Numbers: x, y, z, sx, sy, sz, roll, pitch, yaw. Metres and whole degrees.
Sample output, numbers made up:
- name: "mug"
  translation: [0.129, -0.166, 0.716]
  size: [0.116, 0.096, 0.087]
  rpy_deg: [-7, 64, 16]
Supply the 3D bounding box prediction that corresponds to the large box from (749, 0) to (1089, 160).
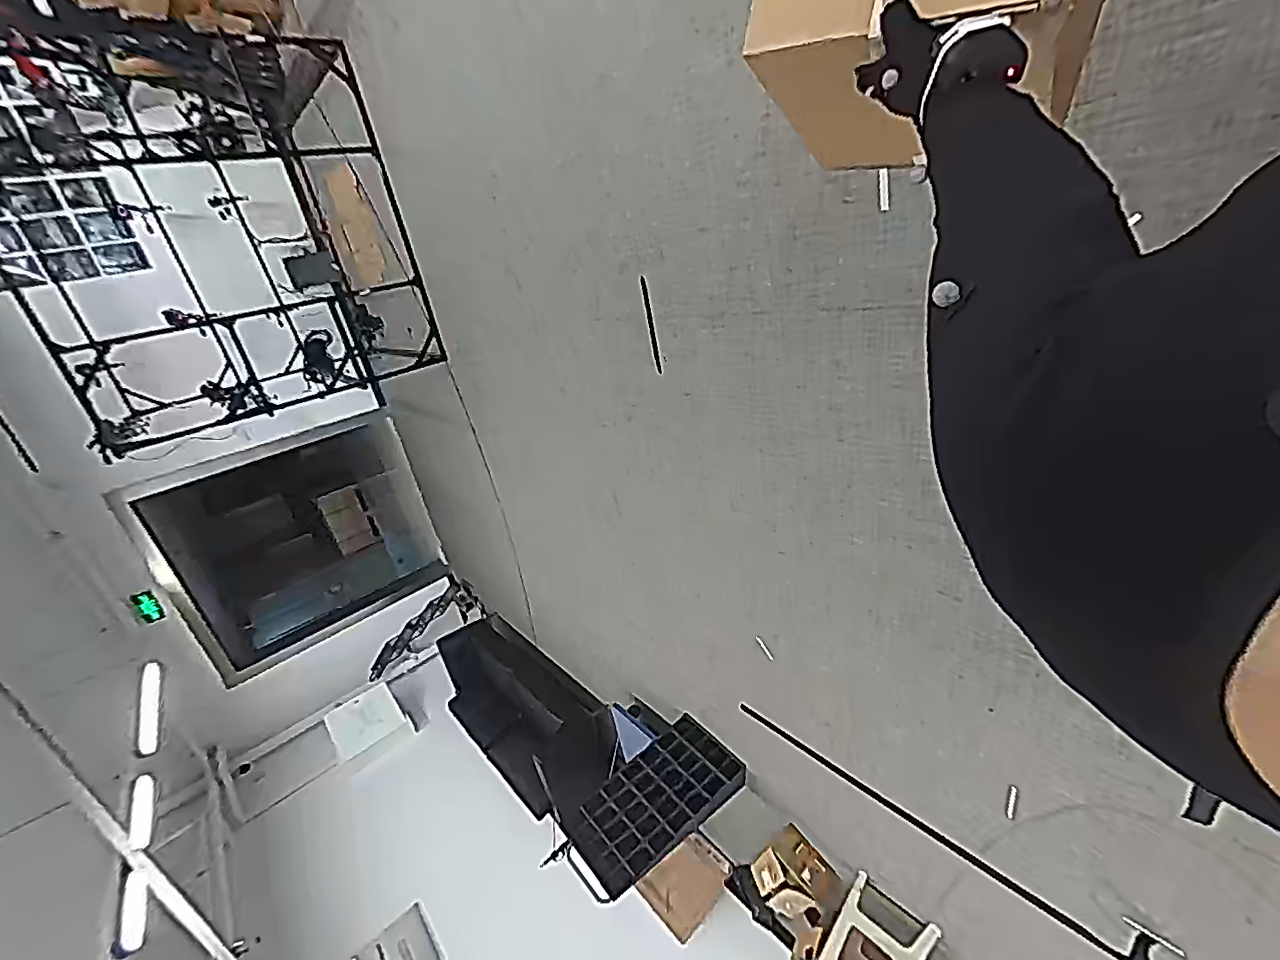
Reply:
- name: "large box"
  translation: [0.365, -0.659, 0.637]
  size: [0.320, 0.320, 0.408]
  rpy_deg: [19, 105, 34]
